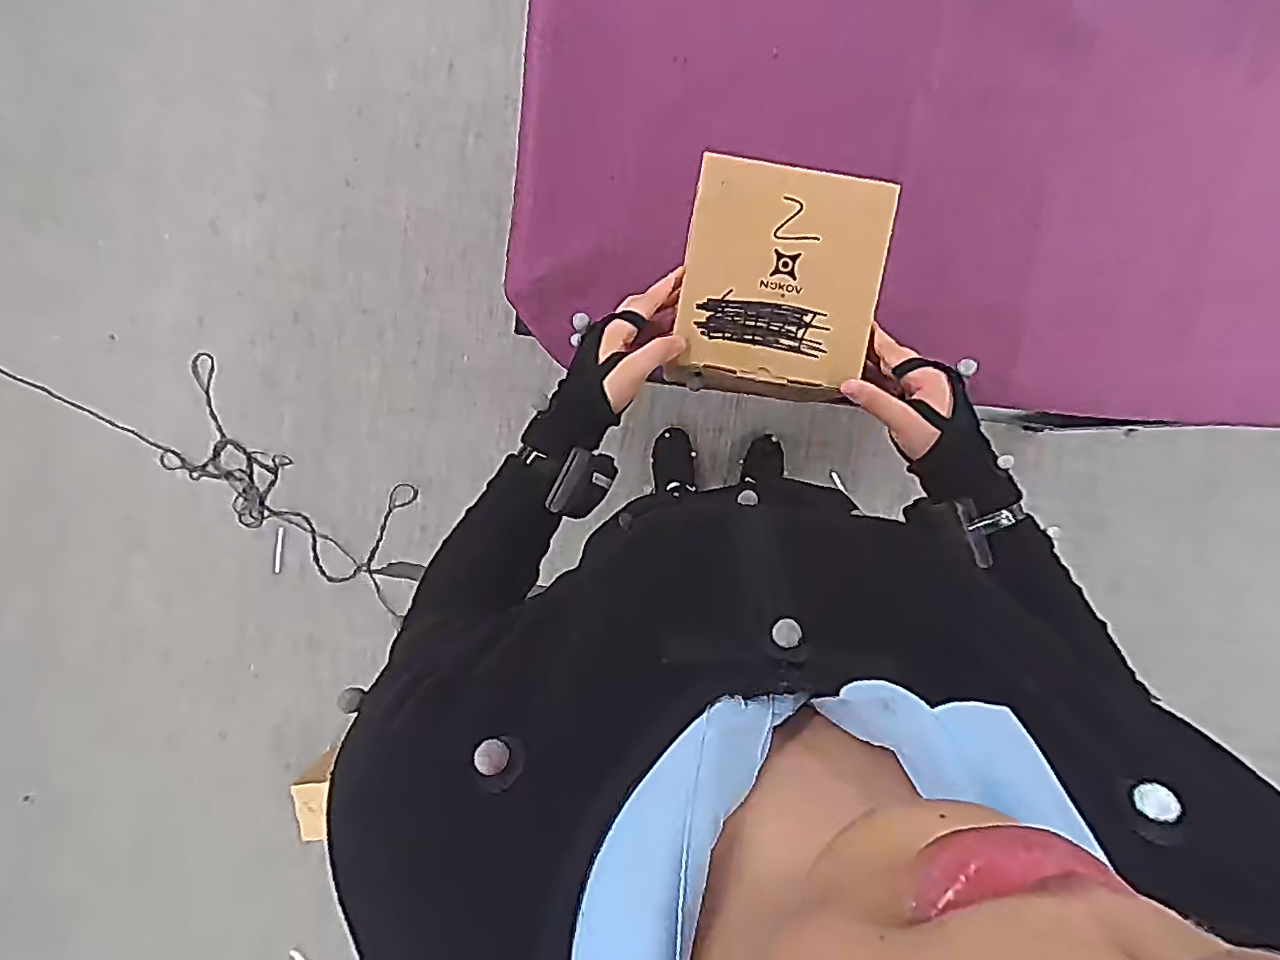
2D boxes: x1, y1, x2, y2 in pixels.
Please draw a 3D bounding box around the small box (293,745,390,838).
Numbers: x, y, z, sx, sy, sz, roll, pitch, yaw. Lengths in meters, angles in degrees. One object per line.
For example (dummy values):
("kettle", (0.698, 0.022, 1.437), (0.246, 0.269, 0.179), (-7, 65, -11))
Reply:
("small box", (-0.839, 0.881, 1.543), (0.179, 0.176, 0.168), (-8, 94, 5))
